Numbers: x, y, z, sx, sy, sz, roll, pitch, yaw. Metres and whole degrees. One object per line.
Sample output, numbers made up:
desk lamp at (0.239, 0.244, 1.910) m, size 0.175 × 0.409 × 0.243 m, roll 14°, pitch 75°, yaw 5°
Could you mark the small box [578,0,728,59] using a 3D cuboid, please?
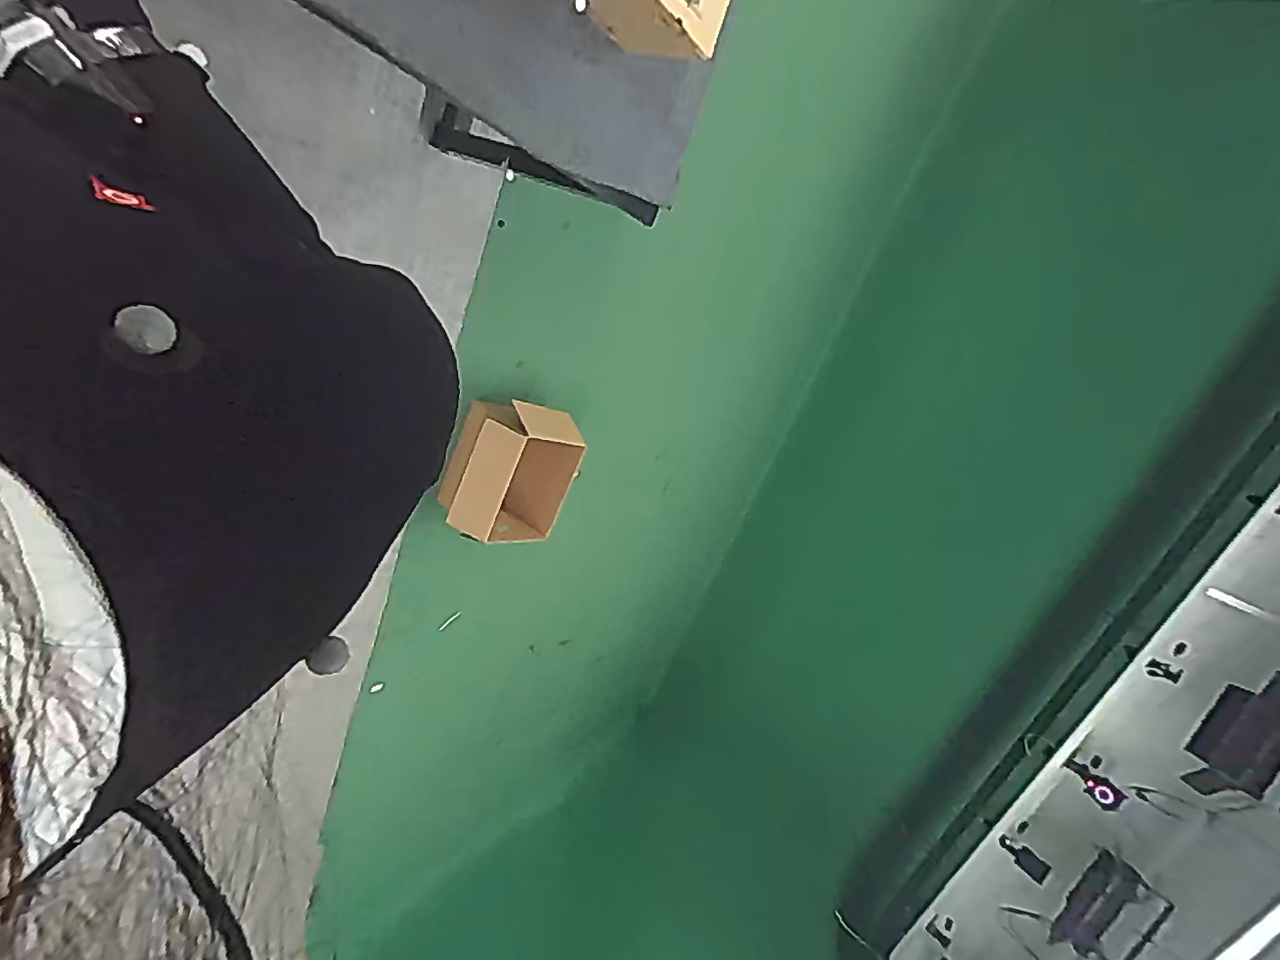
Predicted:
small box at (0.017, -0.708, 0.720) m, size 0.168 × 0.176 × 0.179 m, roll -6°, pitch 122°, yaw -54°
